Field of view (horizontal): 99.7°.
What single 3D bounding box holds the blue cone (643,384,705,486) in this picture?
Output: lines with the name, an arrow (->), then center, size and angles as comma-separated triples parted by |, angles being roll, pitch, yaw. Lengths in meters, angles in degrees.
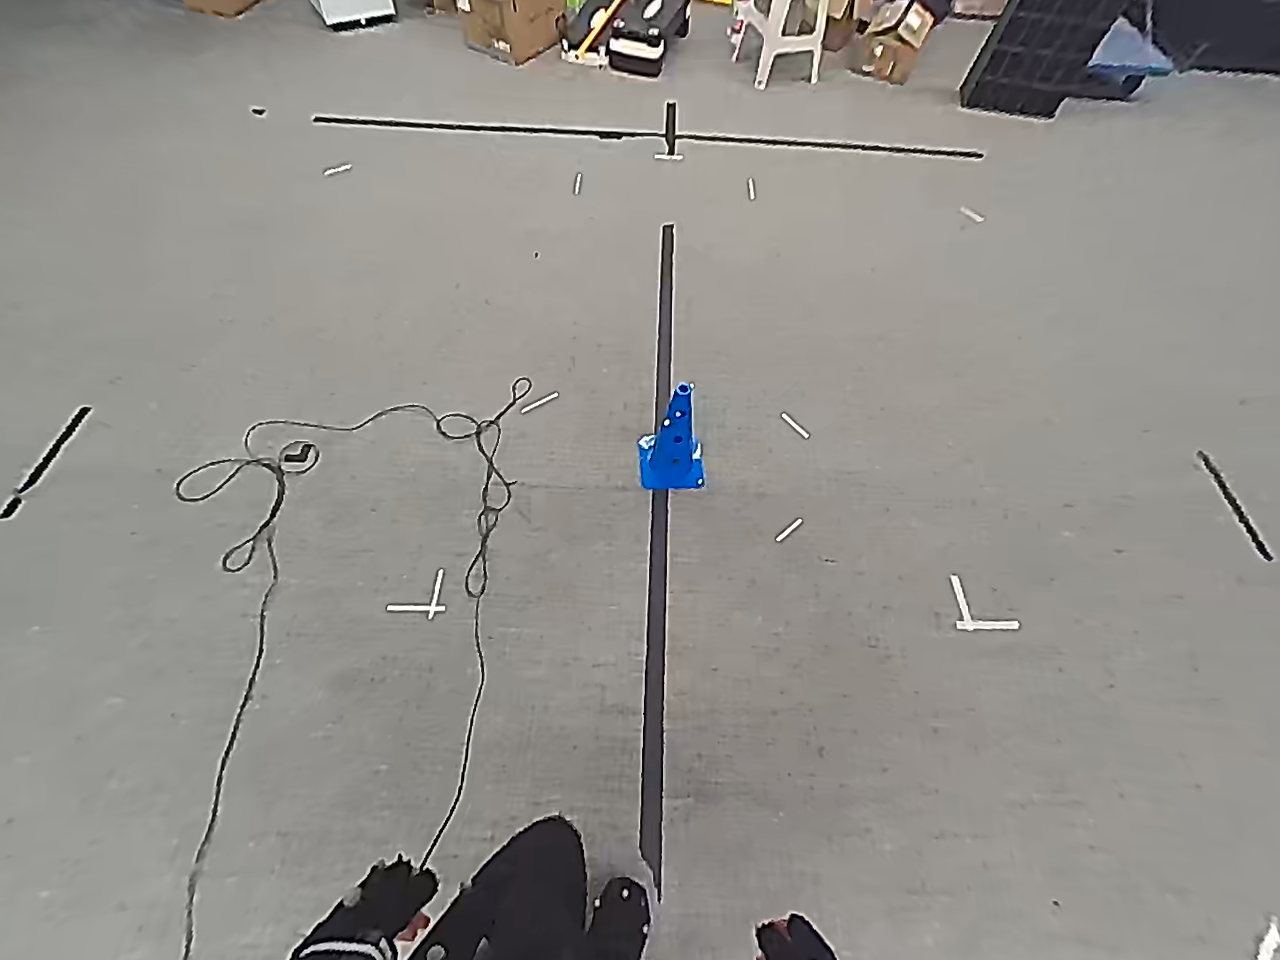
blue cone -> 0.115, -0.146, 1.578 | 0.192, 0.380, 0.193 | 1, 60, -4
